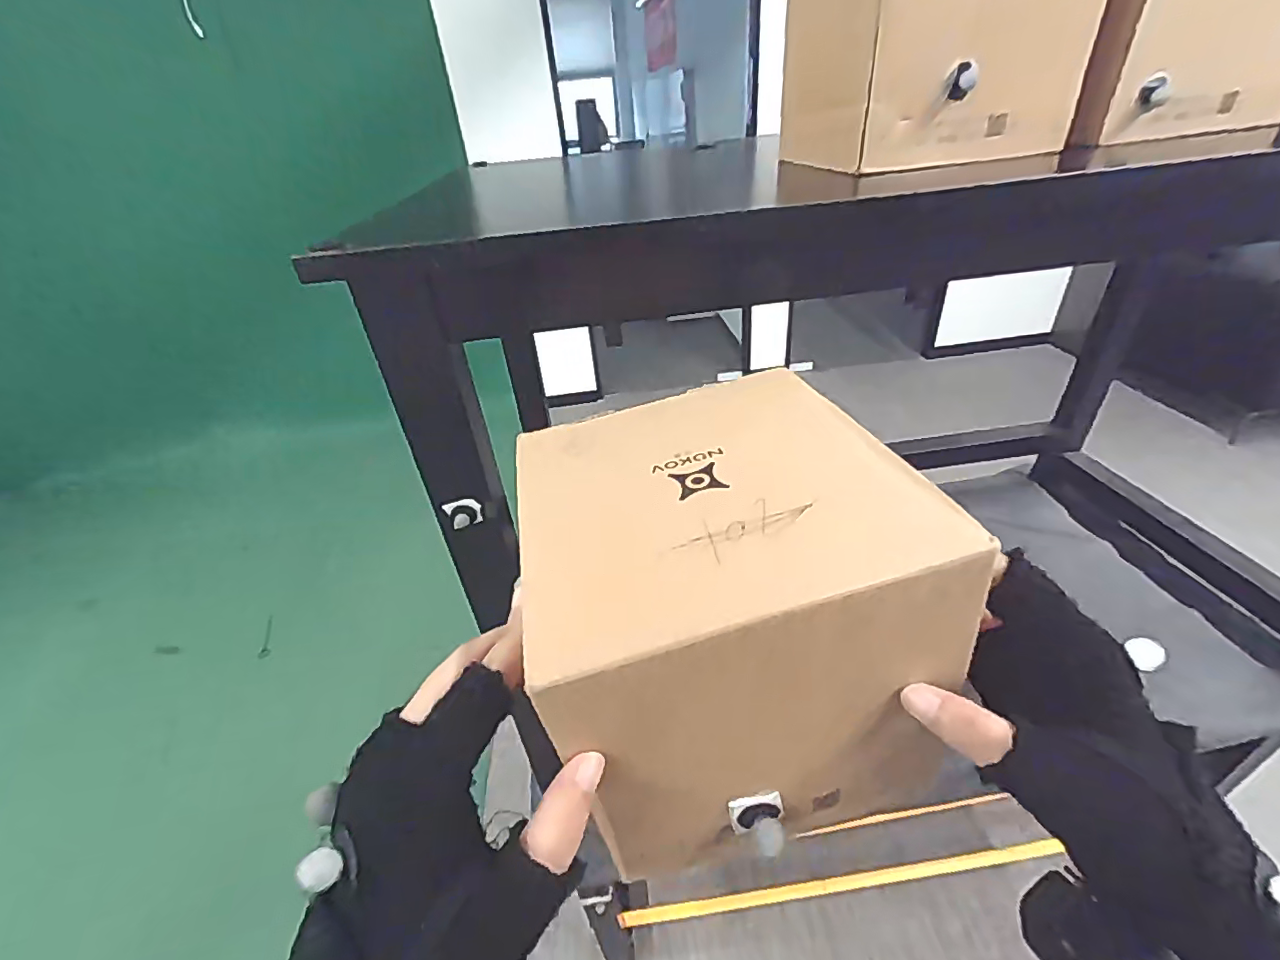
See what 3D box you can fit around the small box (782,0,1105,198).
[{"bbox_3d":[0.227,-0.339,0.447,0.168,0.176,0.179,-8,35,-4],"label":"small box"}]
